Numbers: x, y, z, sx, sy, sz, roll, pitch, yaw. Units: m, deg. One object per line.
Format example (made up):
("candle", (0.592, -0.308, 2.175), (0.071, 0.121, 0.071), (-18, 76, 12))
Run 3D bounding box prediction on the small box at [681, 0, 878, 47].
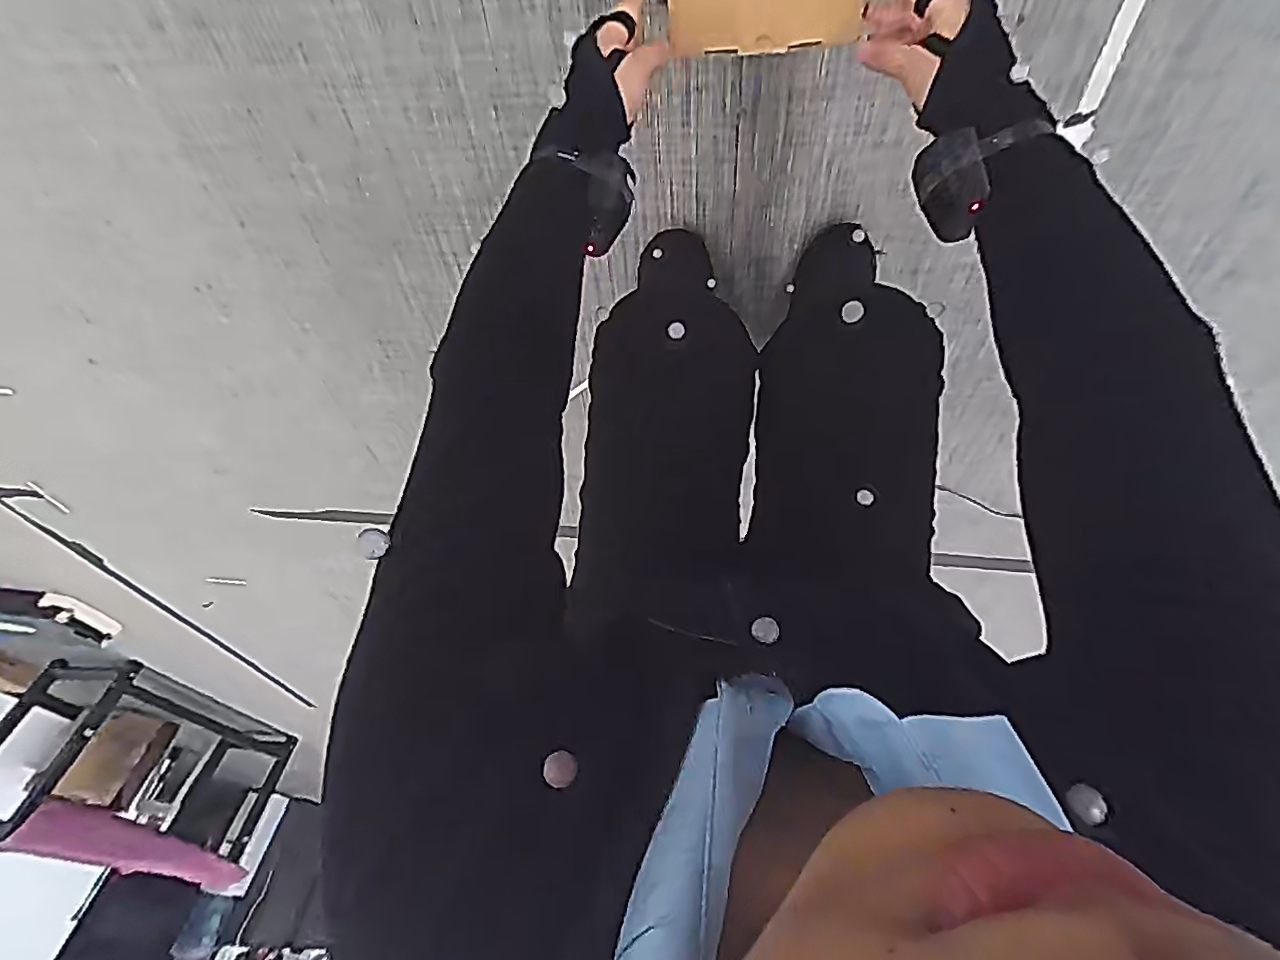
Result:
("small box", (0.119, -0.503, 0.462), (0.168, 0.176, 0.179), (1, 139, 9))
